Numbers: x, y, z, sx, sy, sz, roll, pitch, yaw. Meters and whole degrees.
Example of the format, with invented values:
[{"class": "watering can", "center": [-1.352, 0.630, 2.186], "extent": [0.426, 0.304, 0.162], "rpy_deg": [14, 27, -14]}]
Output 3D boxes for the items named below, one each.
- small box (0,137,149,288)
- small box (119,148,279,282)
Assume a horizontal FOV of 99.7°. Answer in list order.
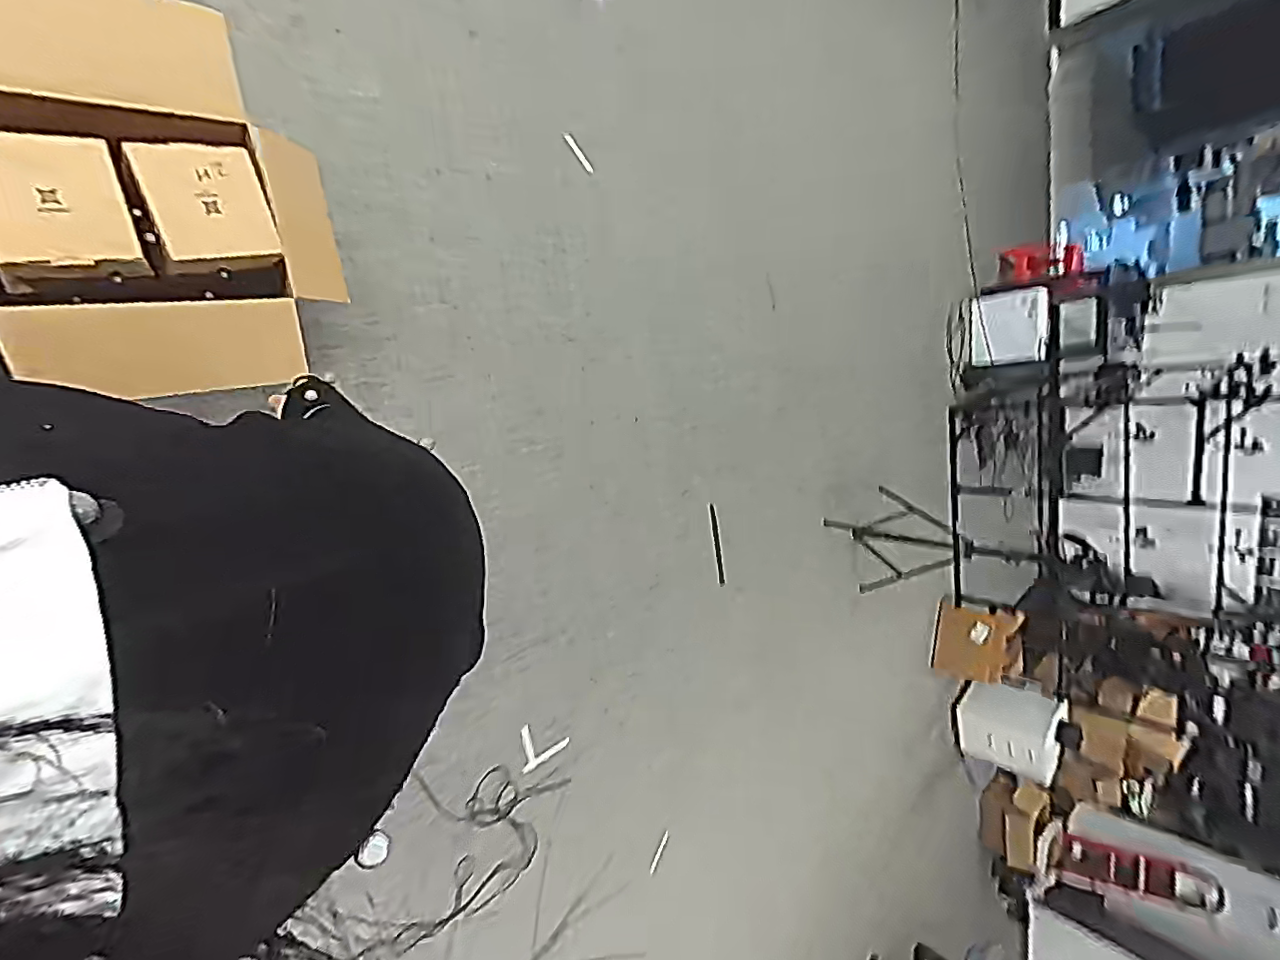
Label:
[{"class": "small box", "center": [-0.910, -0.407, 0.847], "extent": [0.168, 0.176, 0.179], "rpy_deg": [-19, 104, -35]}, {"class": "small box", "center": [-0.775, -0.457, 0.956], "extent": [0.168, 0.176, 0.179], "rpy_deg": [-26, 110, -40]}]
